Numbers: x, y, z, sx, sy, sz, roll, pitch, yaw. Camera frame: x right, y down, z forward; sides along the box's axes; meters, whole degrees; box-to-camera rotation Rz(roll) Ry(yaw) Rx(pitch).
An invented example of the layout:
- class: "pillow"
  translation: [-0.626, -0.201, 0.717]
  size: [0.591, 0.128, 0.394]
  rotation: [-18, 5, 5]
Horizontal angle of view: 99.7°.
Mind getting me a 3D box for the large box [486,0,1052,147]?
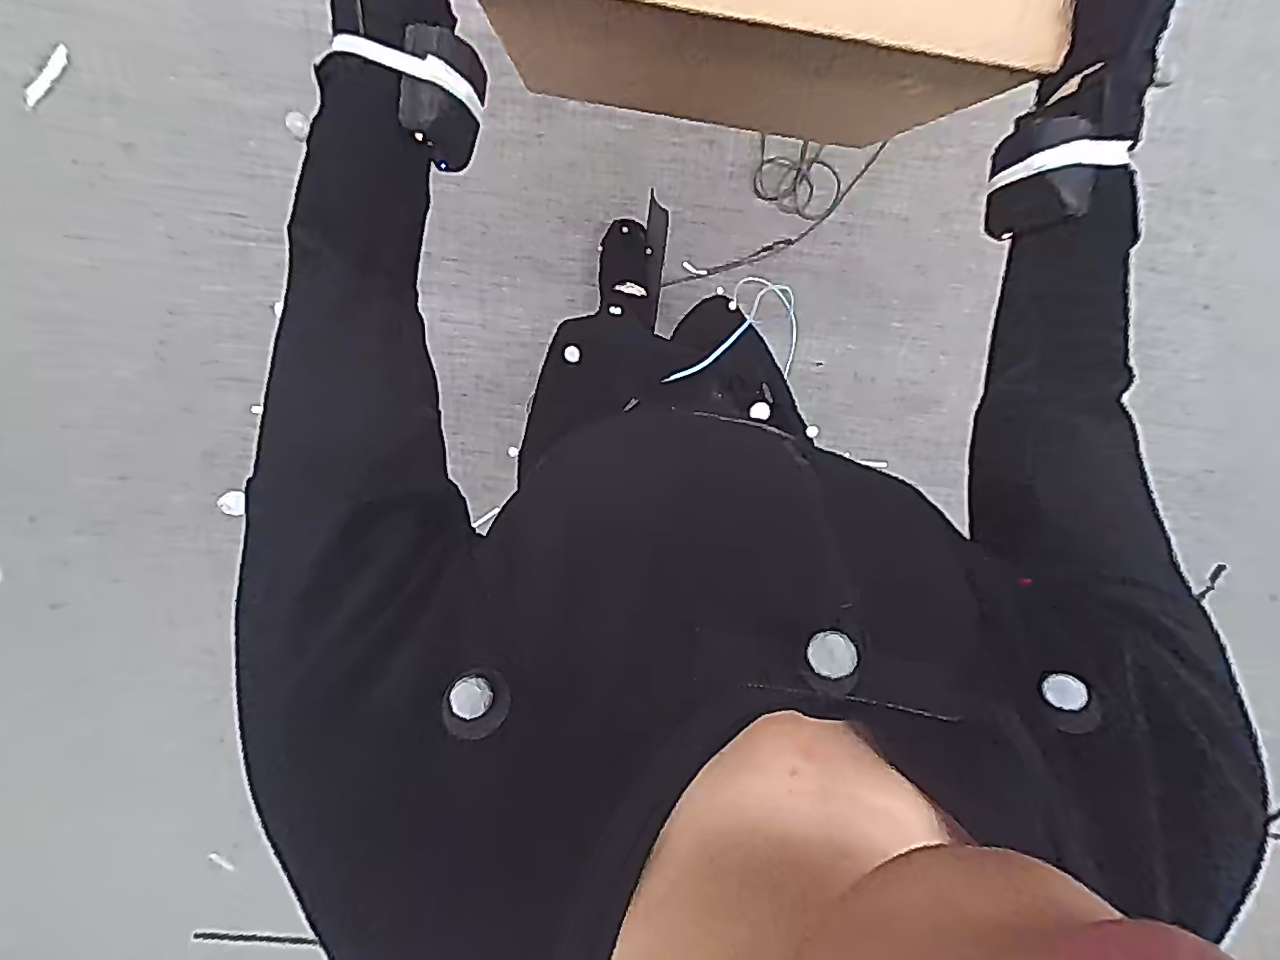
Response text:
- class: "large box"
  translation: [0.092, -0.506, 0.449]
  size: [0.408, 0.320, 0.320]
  rotation: [6, 113, -6]
